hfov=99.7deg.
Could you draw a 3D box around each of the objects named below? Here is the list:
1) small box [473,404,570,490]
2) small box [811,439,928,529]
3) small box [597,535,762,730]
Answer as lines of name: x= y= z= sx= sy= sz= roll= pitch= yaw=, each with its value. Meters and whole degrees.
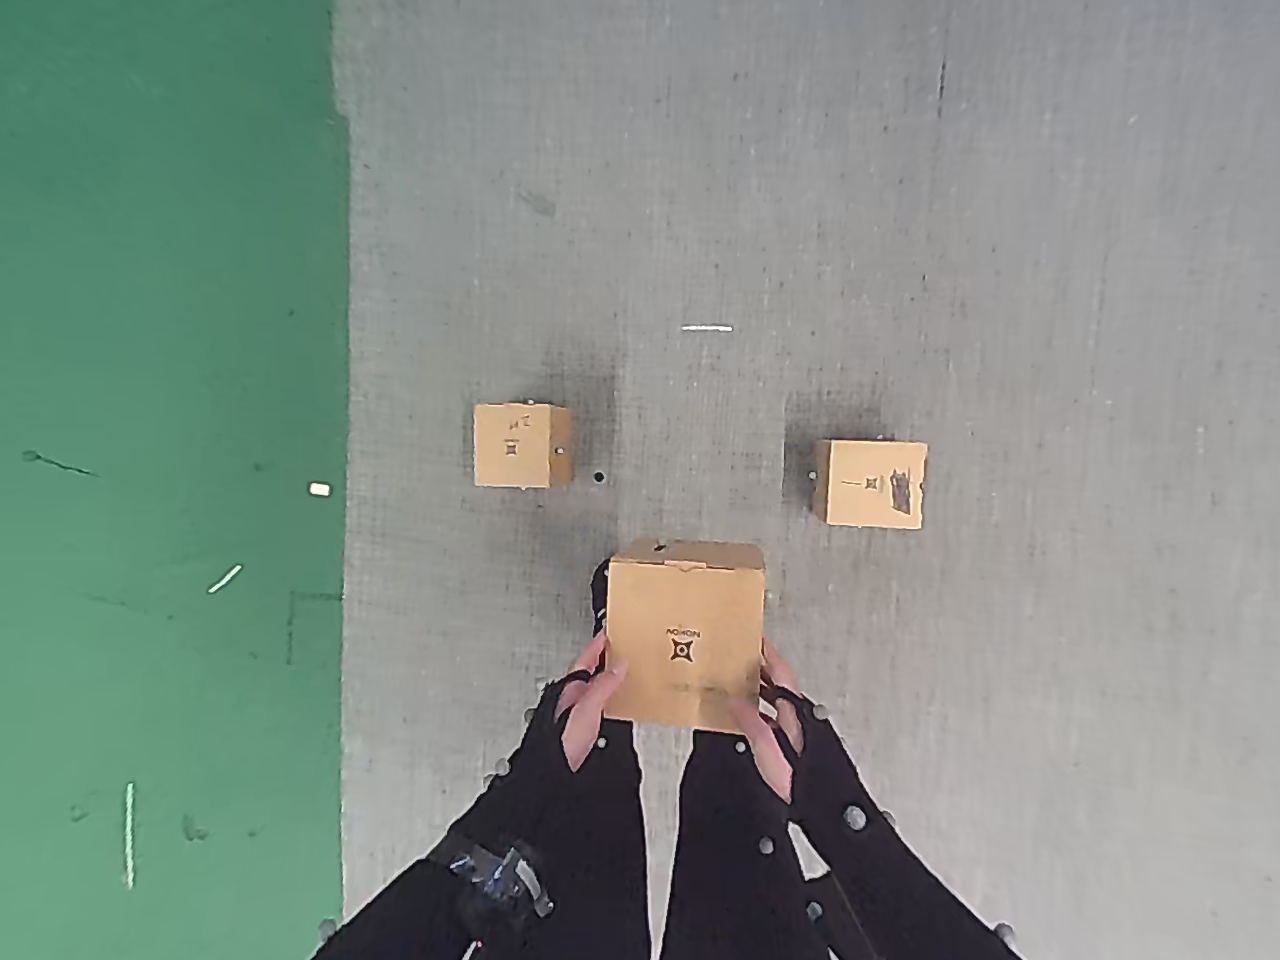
small box: x=-0.255 y=-0.074 z=1.195 sx=0.168 sy=0.176 sz=0.179 roll=2 pitch=94 yaw=8
small box: x=0.453 y=0.002 z=1.093 sx=0.179 sy=0.176 sz=0.168 roll=3 pitch=94 yaw=9
small box: x=0.053 y=0.163 z=0.642 sx=0.168 sy=0.176 sz=0.179 roll=3 pitch=93 yaw=11
